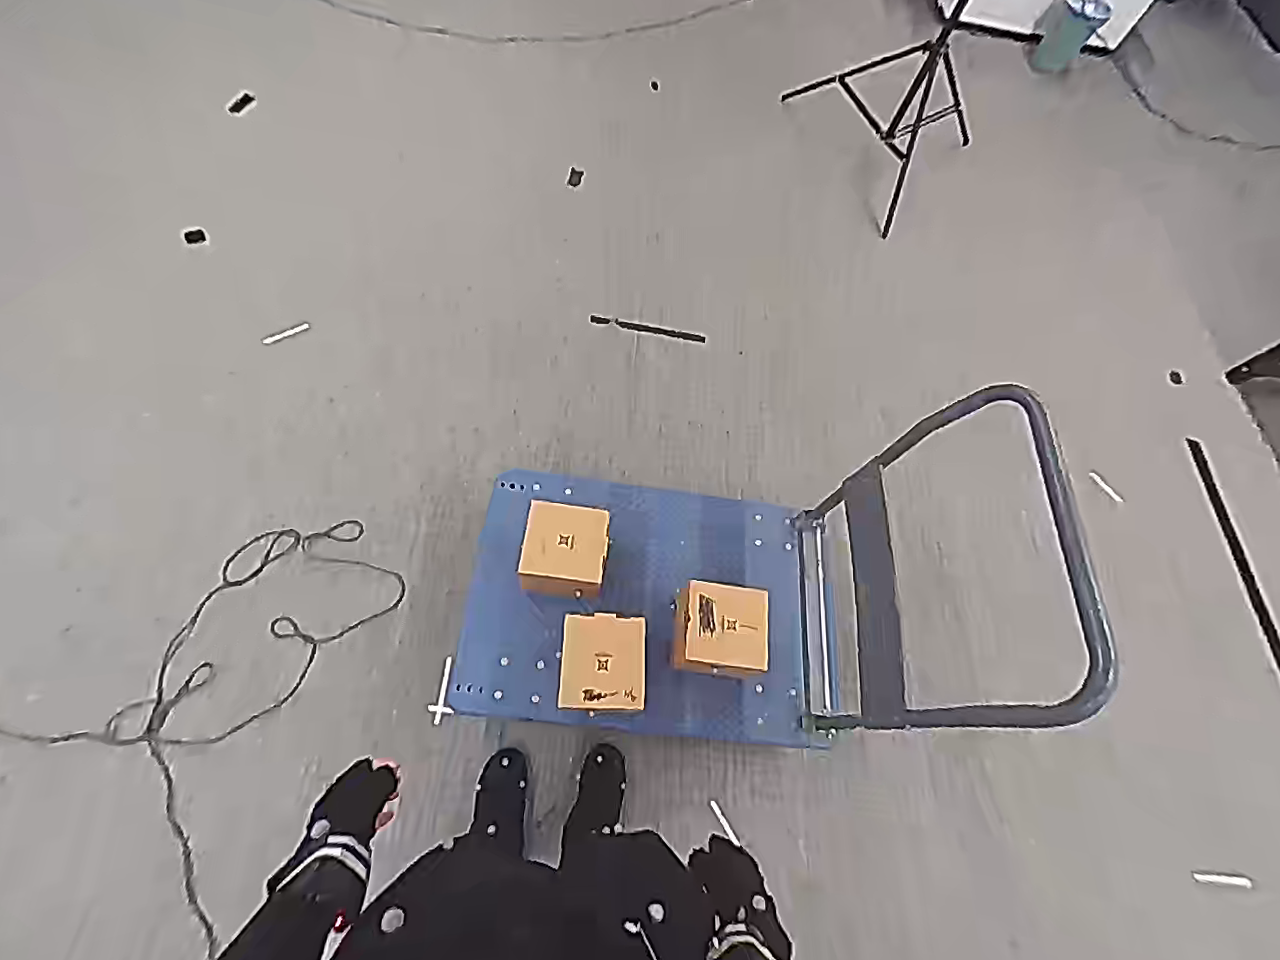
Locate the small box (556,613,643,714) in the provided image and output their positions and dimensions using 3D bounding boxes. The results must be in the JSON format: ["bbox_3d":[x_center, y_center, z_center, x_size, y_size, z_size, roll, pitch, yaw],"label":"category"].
[{"bbox_3d":[-0.087,0.389,1.135,0.168,0.176,0.179,4,63,-6],"label":"small box"}]

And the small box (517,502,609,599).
[{"bbox_3d":[-0.173,0.165,1.226,0.179,0.176,0.168,8,64,-4],"label":"small box"}]

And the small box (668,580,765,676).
[{"bbox_3d":[0.165,0.334,1.197,0.179,0.176,0.168,10,64,-5],"label":"small box"}]
